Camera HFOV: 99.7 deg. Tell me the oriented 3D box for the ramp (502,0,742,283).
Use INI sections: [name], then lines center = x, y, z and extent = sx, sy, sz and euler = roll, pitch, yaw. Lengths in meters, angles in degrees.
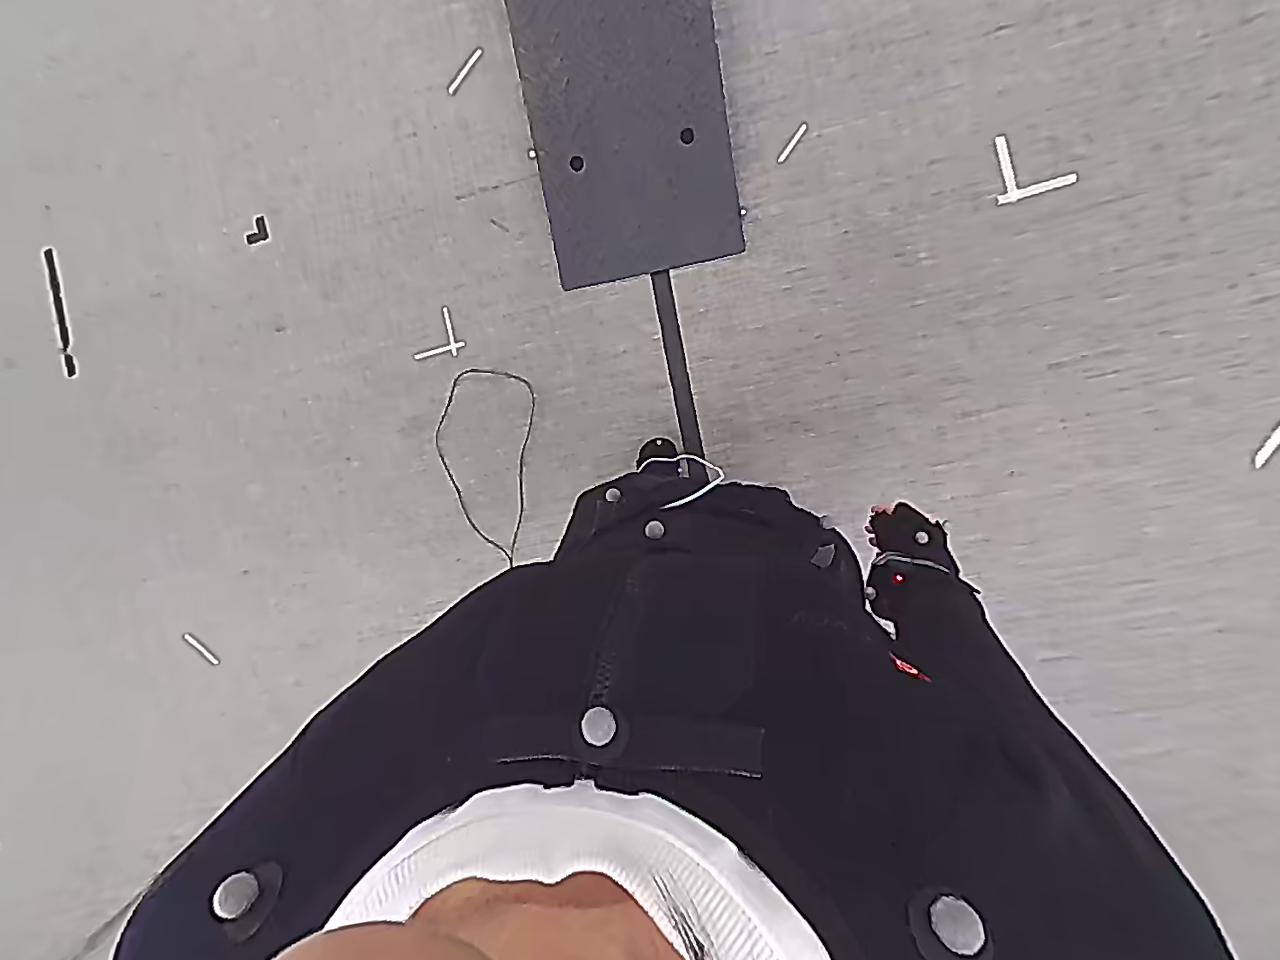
[ramp]
center = -0.063, -1.041, 1.315
extent = 0.509, 0.206, 0.991
euler = -11, 92, 7
